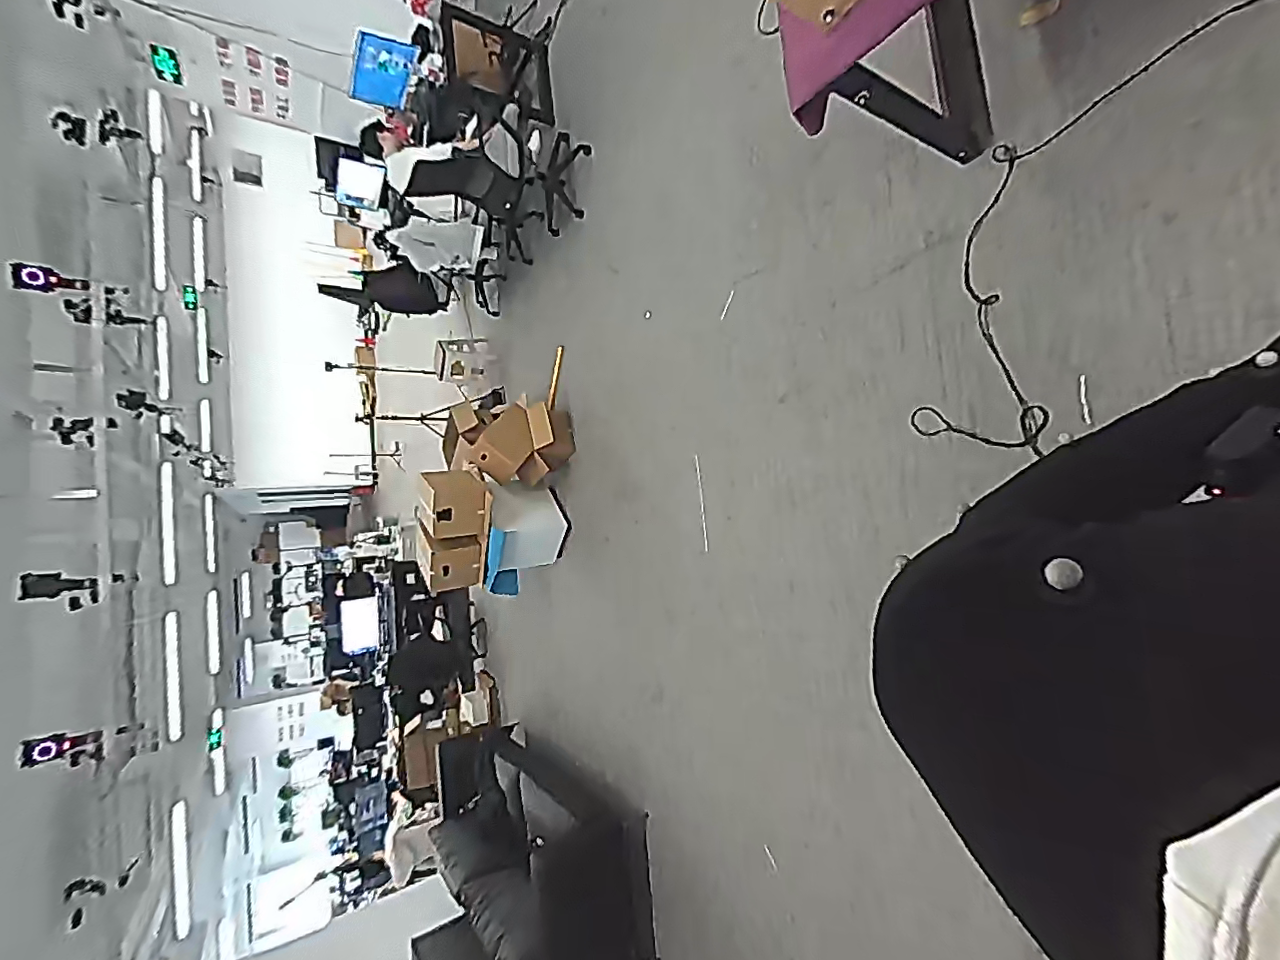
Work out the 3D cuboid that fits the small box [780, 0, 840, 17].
[{"bbox_3d":[0.325,-1.004,0.986,0.168,0.176,0.179,-19,75,55],"label":"small box"}]
